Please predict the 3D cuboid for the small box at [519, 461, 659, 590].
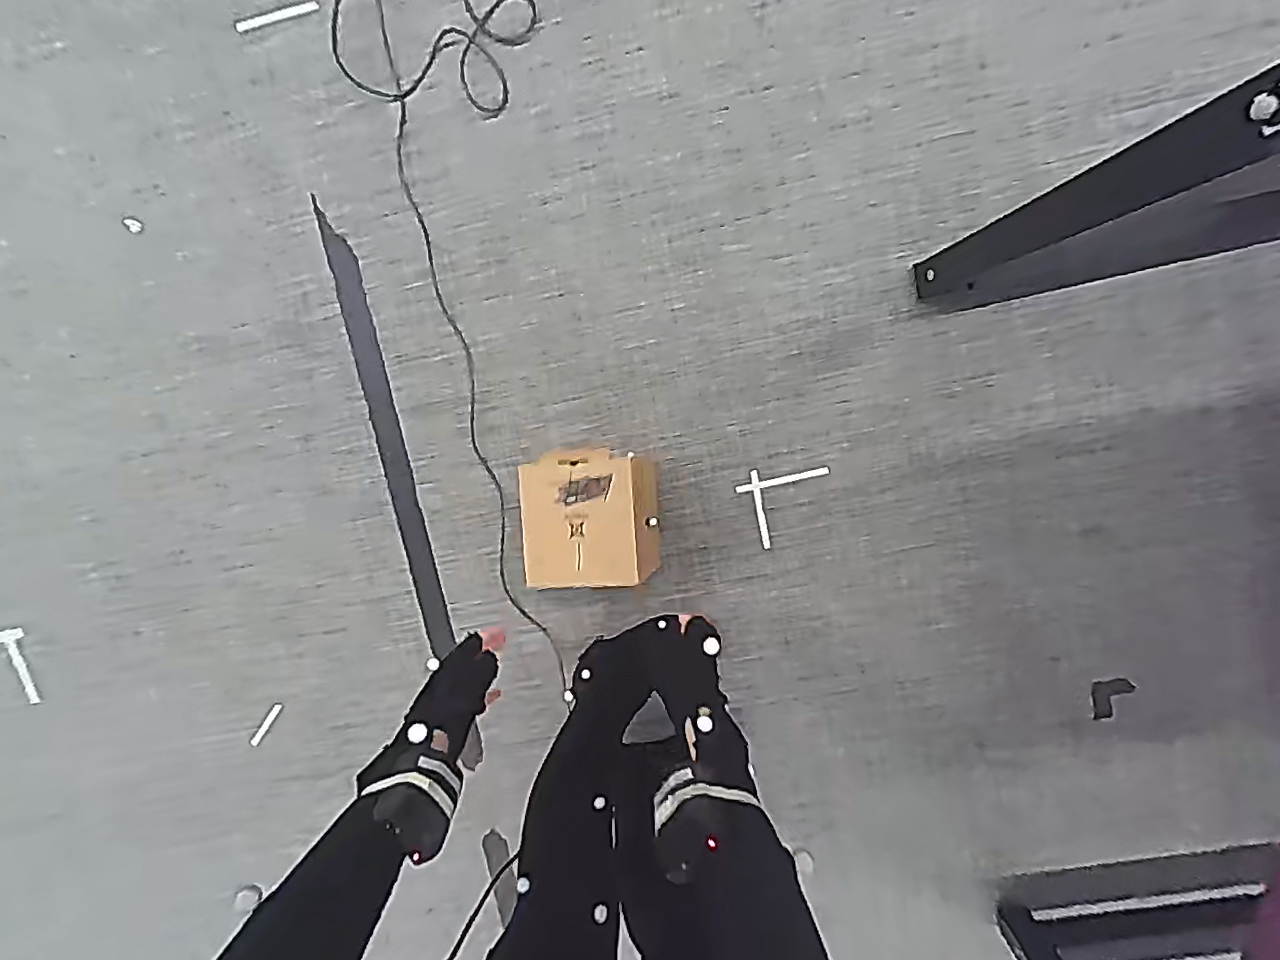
[{"bbox_3d":[-0.069,0.061,0.823,0.168,0.176,0.179,-3,94,14],"label":"small box"}]
